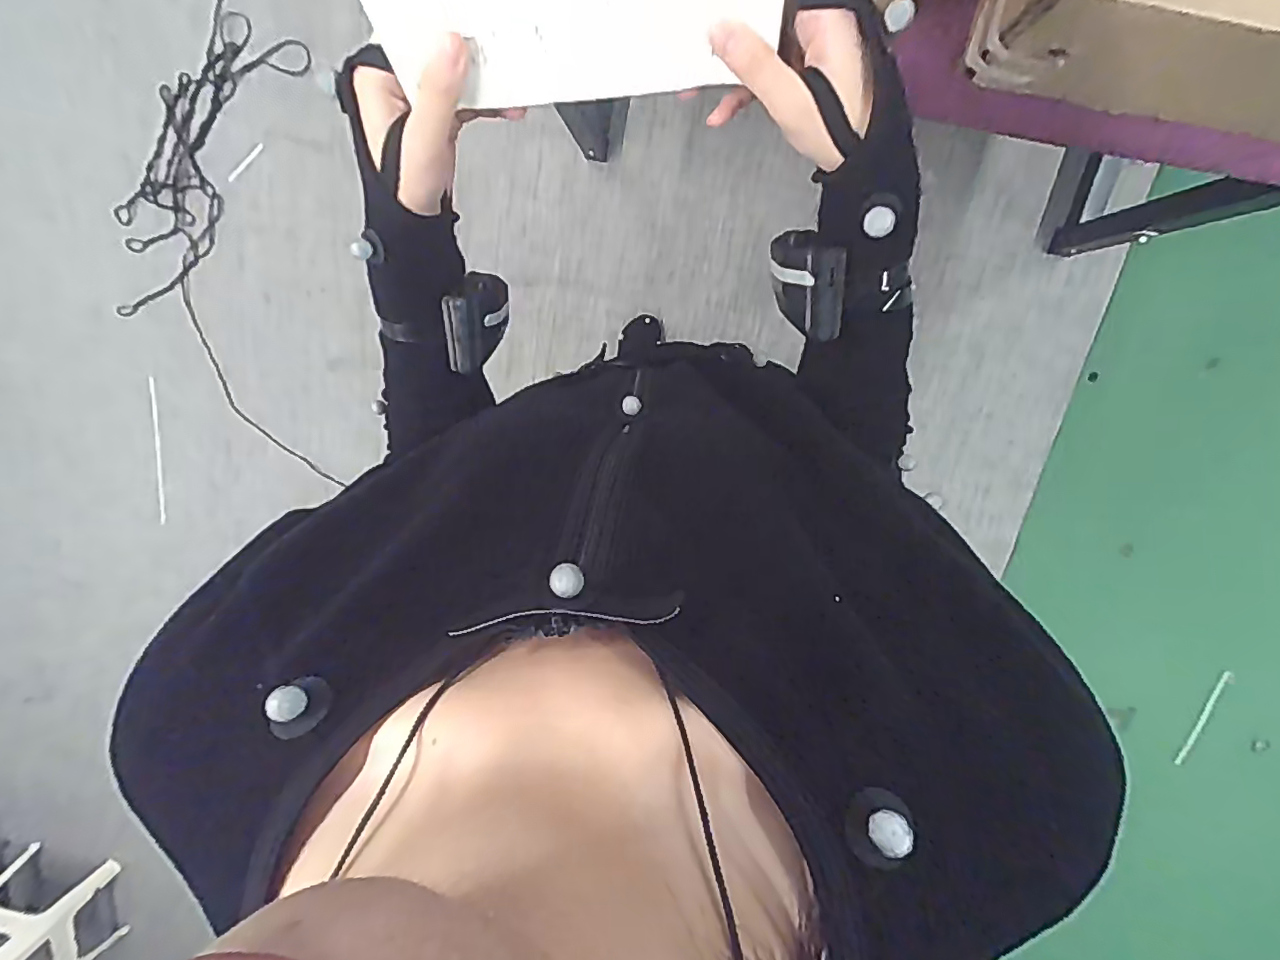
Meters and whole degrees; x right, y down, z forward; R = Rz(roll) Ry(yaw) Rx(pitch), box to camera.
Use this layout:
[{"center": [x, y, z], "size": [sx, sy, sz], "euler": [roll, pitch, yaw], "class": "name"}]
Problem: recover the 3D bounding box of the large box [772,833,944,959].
[{"center": [0.622, 1.309, 1.612], "size": [0.408, 0.320, 0.320], "euler": [-2, 104, 5], "class": "large box"}]
